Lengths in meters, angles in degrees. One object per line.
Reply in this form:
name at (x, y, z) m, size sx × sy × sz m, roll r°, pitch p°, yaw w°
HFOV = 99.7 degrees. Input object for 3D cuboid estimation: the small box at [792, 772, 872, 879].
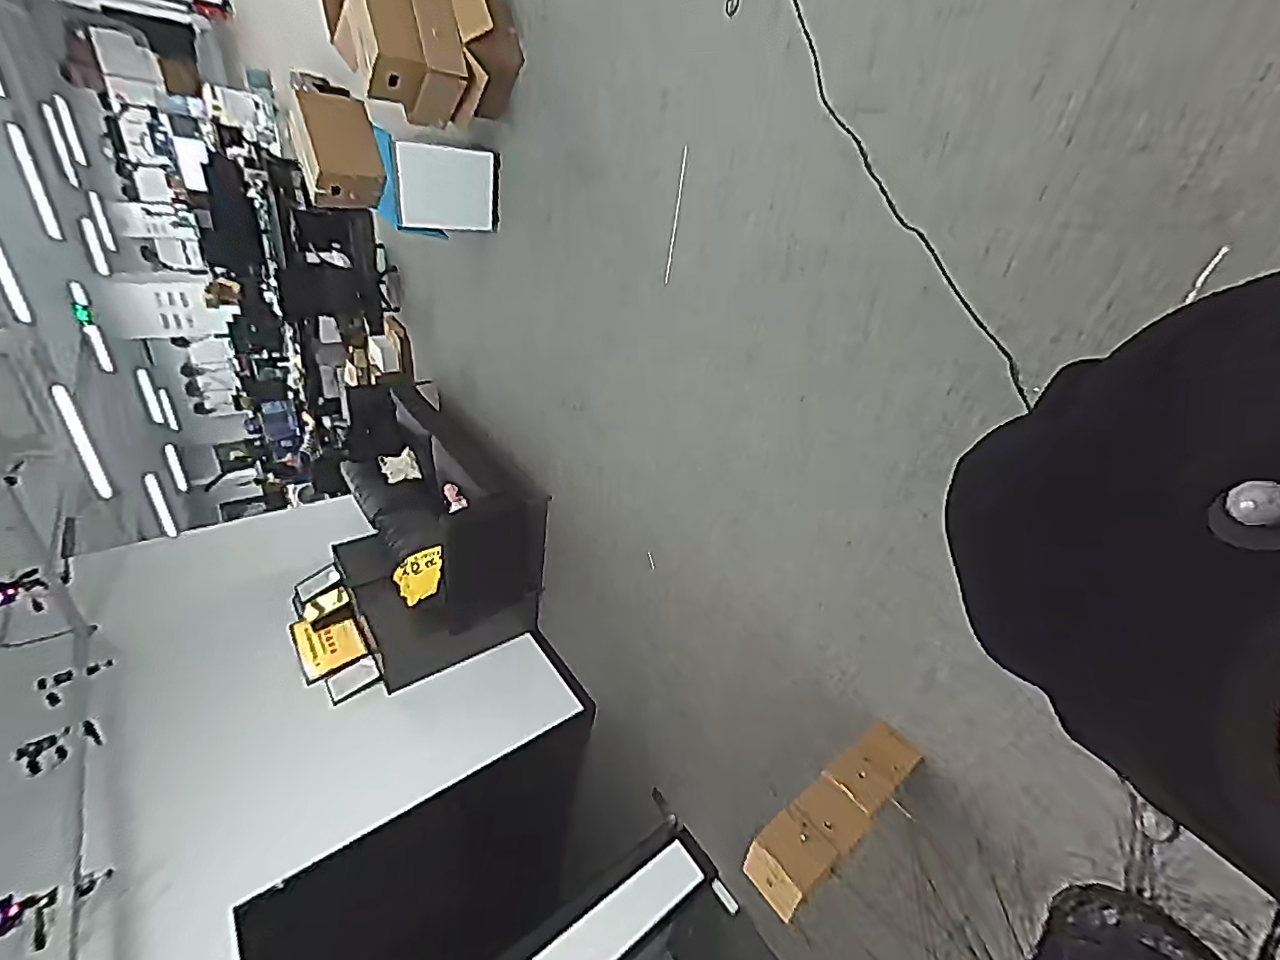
small box at (0.557, 1.024, 1.614) m, size 0.179 × 0.176 × 0.168 m, roll 38°, pitch 132°, yaw 40°

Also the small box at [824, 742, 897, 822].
small box at (0.682, 0.975, 1.711) m, size 0.168 × 0.176 × 0.179 m, roll 37°, pitch 131°, yaw 40°

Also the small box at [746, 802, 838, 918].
small box at (0.427, 1.062, 1.521) m, size 0.168 × 0.176 × 0.179 m, roll 36°, pitch 131°, yaw 40°
